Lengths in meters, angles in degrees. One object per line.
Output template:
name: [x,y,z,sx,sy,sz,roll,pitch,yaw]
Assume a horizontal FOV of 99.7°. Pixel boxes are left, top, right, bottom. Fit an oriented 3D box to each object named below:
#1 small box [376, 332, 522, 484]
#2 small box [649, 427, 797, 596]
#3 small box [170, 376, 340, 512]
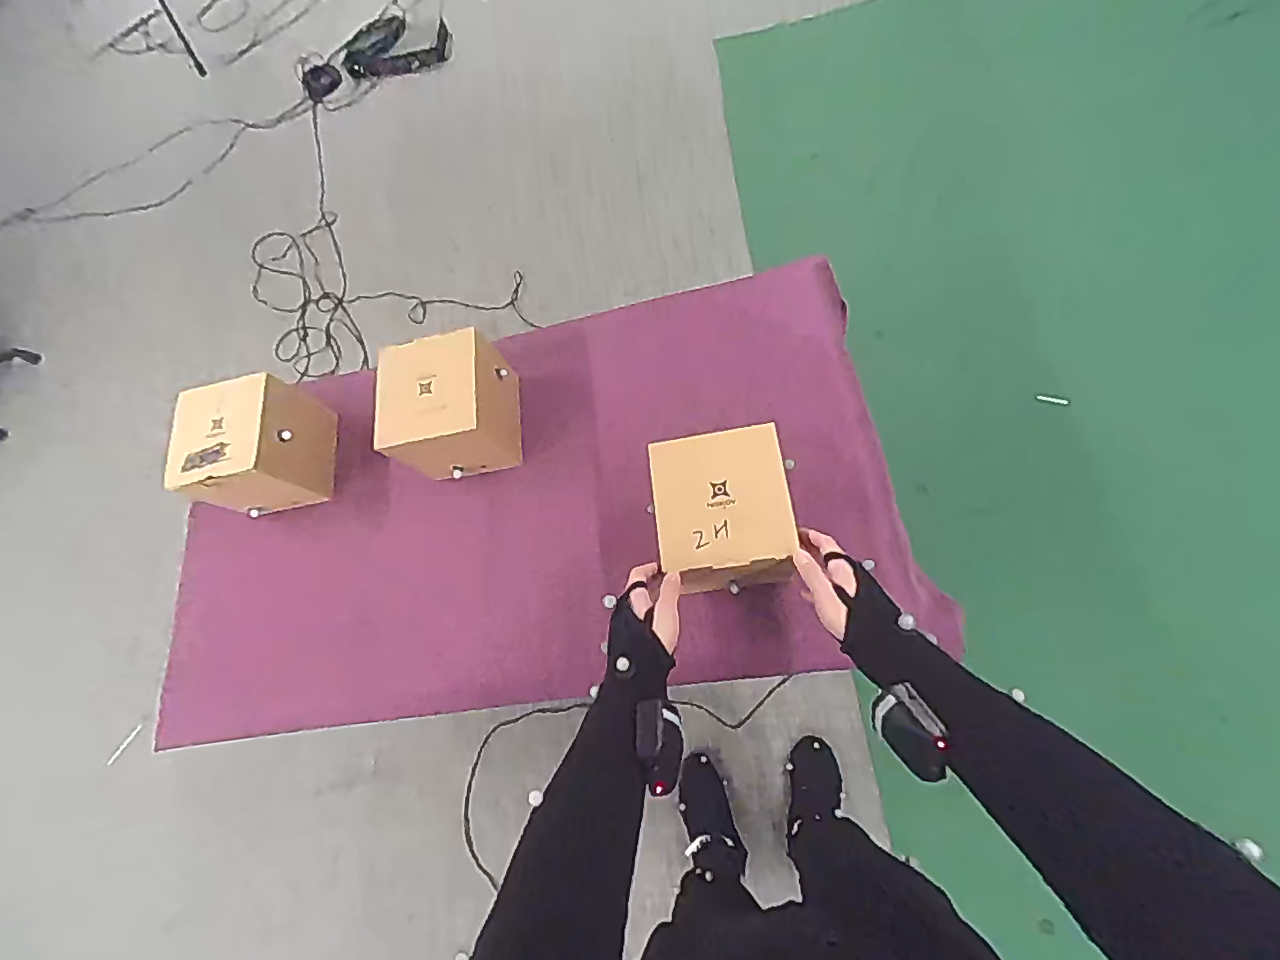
small box: [-0.303,-0.110,0.888,0.168,0.176,0.179,-10,70,9]
small box: [0.112,0.051,0.739,0.168,0.176,0.179,-9,68,10]
small box: [-0.653,-0.051,0.938,0.168,0.176,0.179,-11,69,8]
